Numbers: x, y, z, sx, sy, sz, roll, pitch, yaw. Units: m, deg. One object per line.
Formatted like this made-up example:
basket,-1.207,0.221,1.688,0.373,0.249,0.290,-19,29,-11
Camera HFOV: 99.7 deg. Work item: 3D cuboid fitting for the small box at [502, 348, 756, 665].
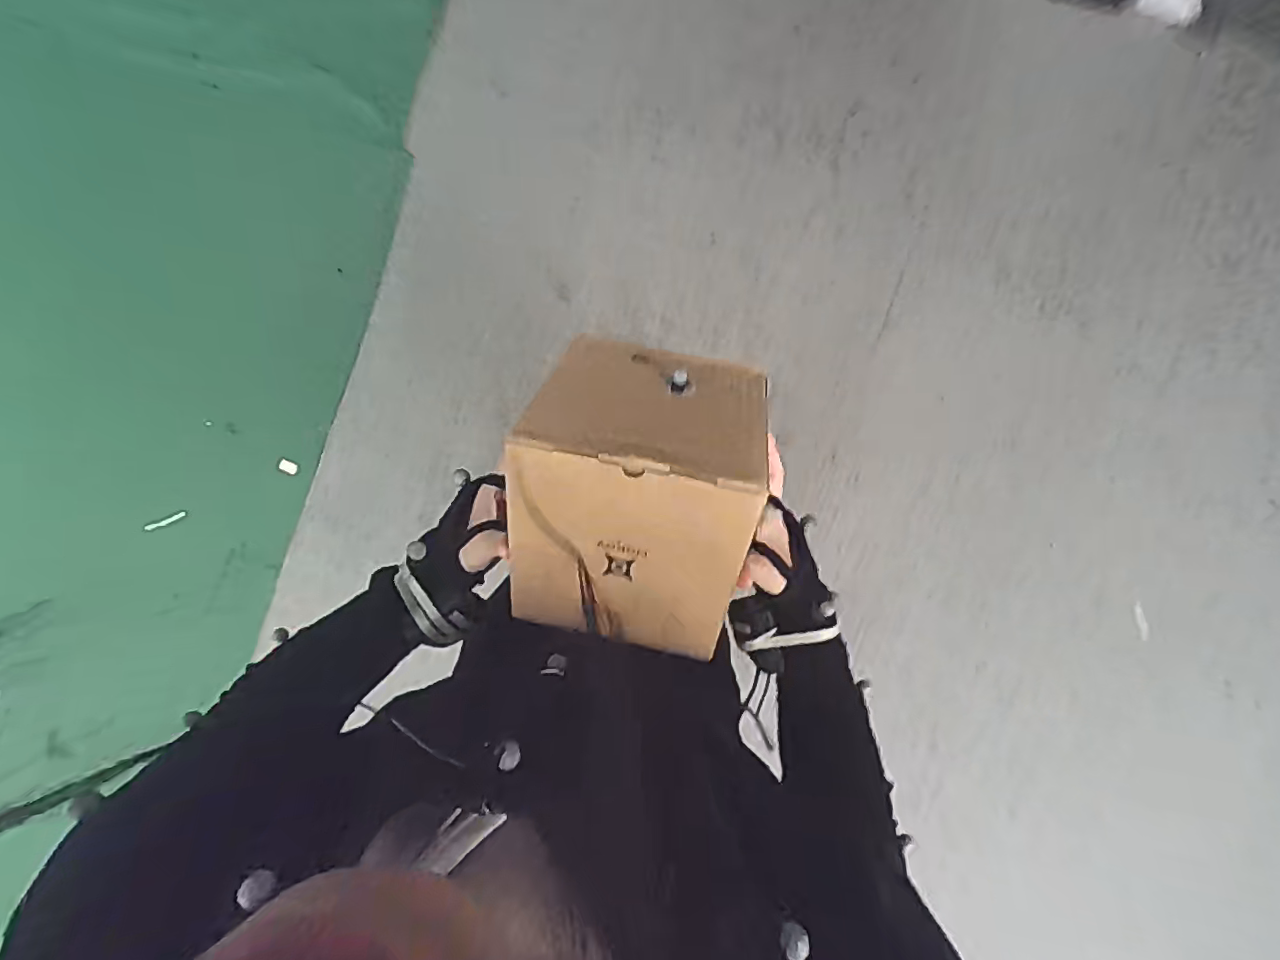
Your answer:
small box,-0.002,0.016,0.446,0.168,0.176,0.179,11,127,4
